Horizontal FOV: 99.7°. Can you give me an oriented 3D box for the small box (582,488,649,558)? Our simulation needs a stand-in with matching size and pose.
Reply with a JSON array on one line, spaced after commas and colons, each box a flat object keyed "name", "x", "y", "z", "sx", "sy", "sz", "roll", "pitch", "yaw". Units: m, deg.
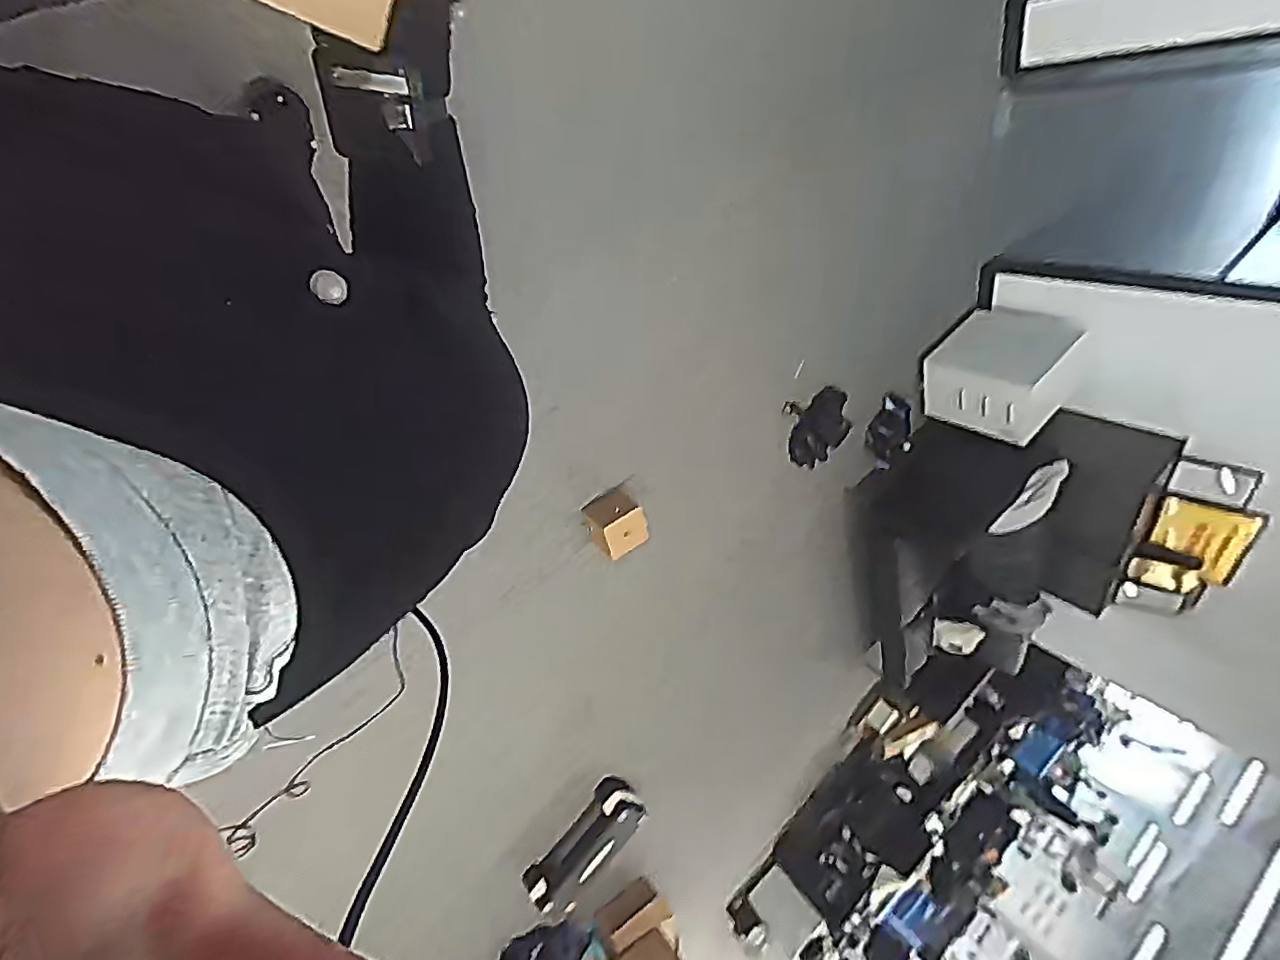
[{"name": "small box", "x": -0.094, "y": 0.158, "z": 2.074, "sx": 0.179, "sy": 0.176, "sz": 0.168, "roll": -31, "pitch": 128, "yaw": -21}]
